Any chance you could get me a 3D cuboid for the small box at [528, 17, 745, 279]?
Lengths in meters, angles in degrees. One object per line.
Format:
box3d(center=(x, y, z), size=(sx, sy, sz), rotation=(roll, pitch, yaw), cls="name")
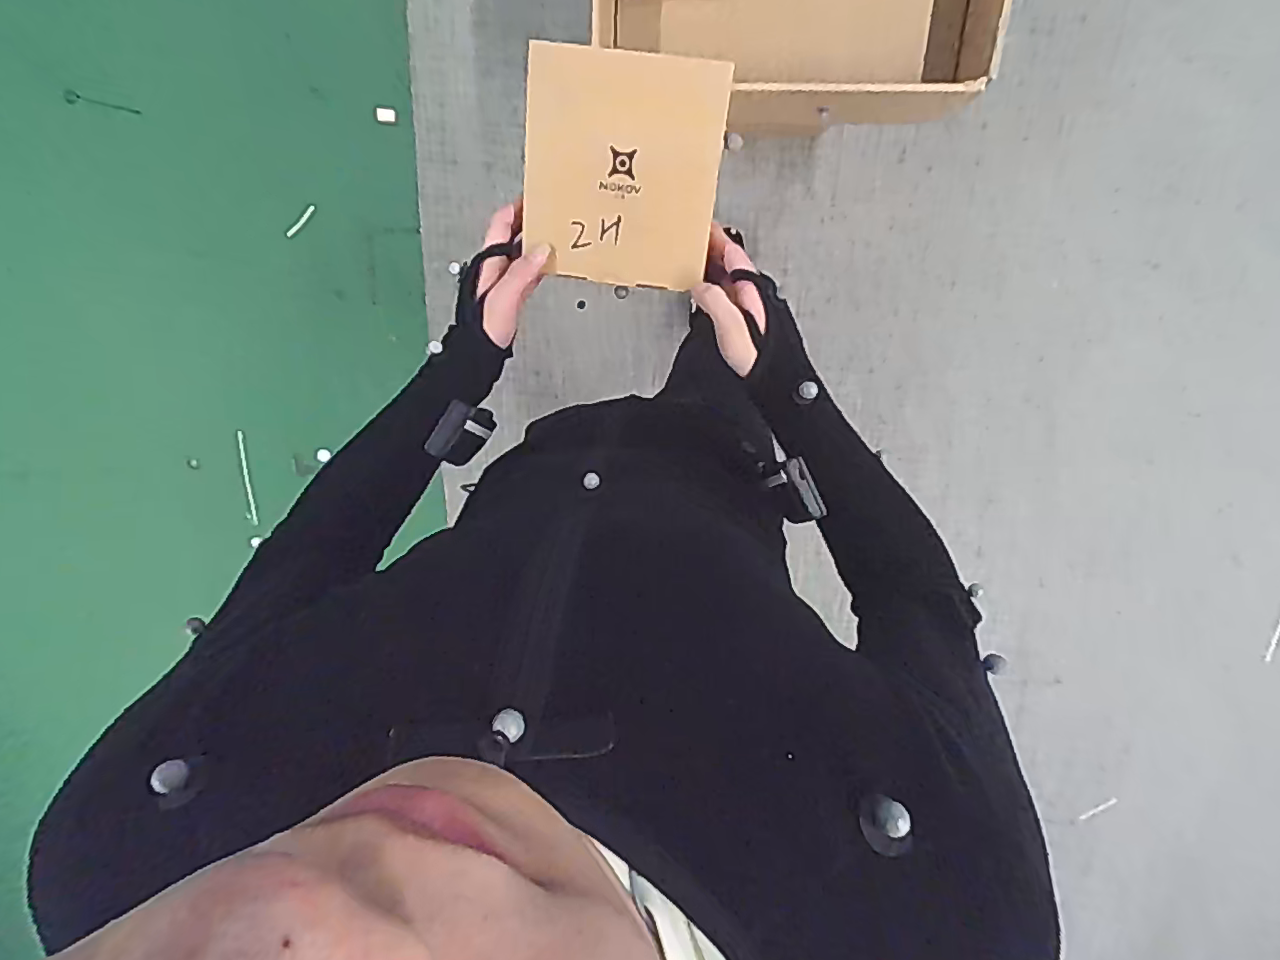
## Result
box3d(center=(-0.004, -0.299, 0.526), size=(0.168, 0.176, 0.179), rotation=(8, 112, 1), cls="small box")
